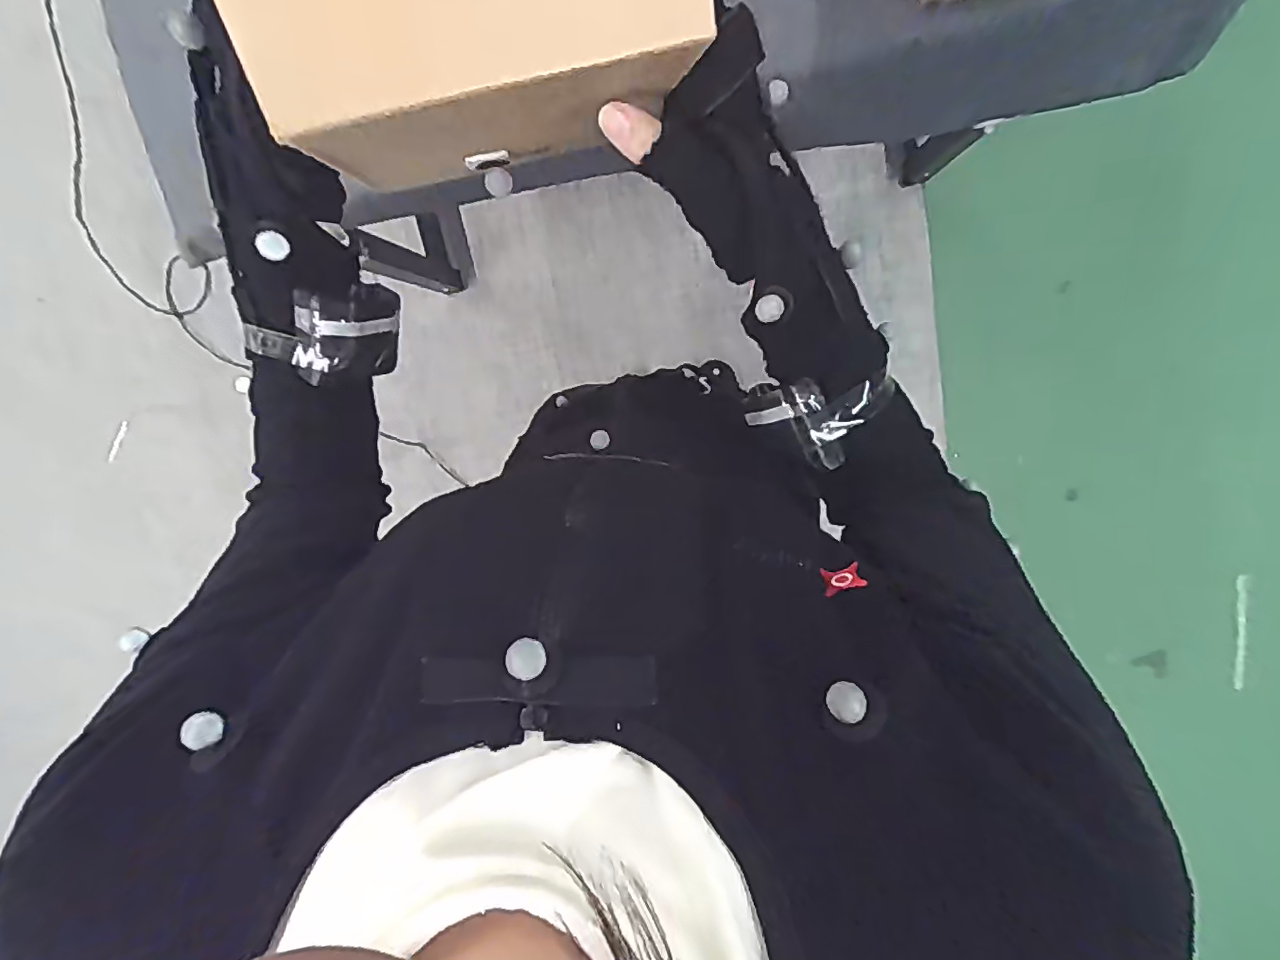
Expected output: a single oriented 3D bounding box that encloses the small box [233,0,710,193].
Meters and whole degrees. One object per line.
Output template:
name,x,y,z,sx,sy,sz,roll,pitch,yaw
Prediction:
small box,-0.085,-0.252,0.243,0.168,0.176,0.179,-17,114,-4
